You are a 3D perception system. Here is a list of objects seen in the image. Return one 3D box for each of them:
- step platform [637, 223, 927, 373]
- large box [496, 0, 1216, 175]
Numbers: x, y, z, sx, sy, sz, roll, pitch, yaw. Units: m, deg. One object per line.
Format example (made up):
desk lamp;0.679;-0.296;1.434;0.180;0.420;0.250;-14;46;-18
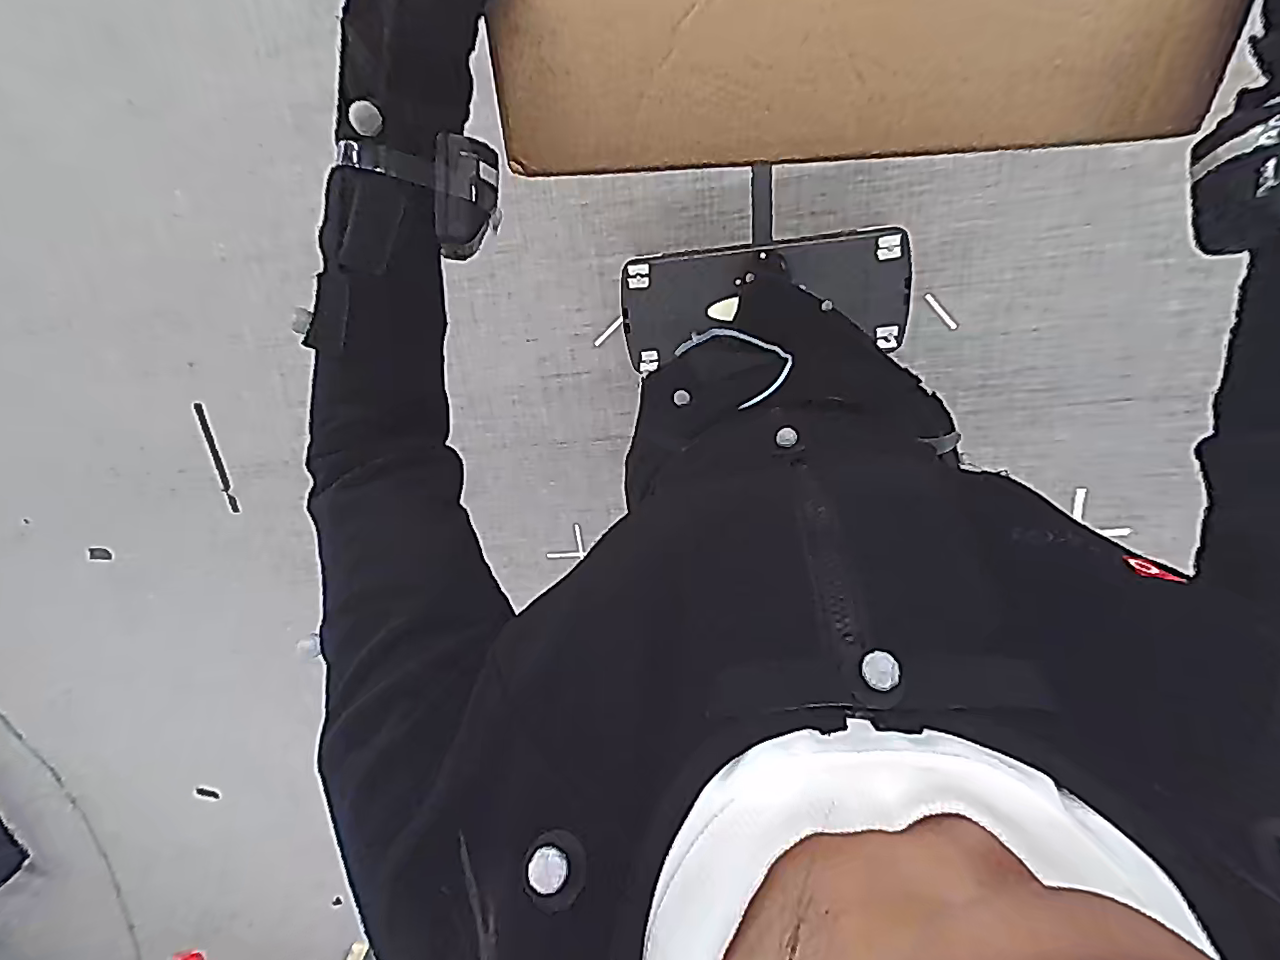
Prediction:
step platform;0.334;-0.446;1.354;0.684;0.204;0.286;-4;111;9
large box;0.117;-0.416;0.387;0.408;0.320;0.320;-1;122;5
